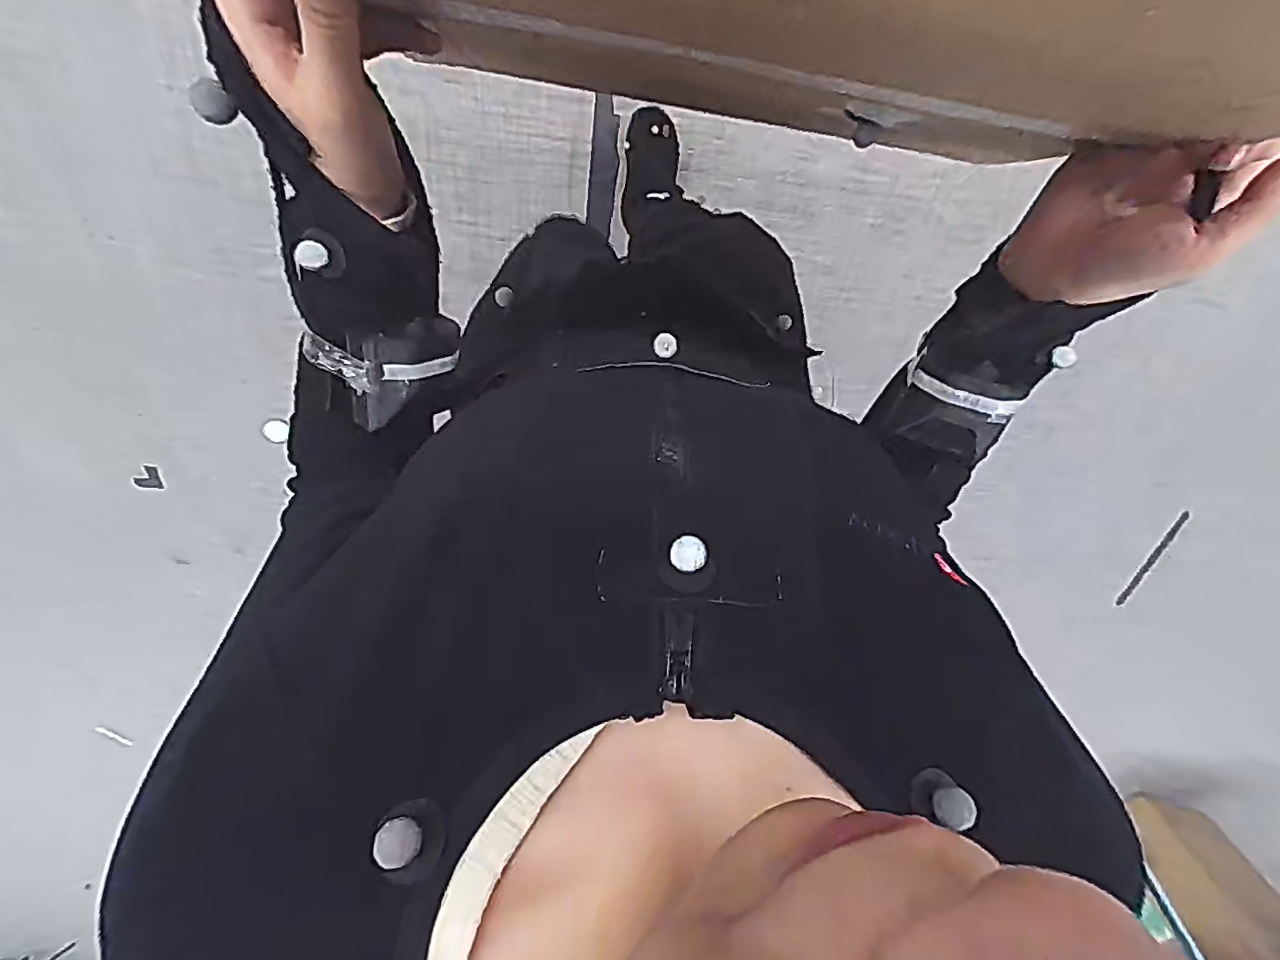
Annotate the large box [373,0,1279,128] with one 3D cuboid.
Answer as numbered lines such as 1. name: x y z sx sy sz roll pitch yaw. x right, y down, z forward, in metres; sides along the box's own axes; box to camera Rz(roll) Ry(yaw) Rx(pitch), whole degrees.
1. large box: 0.081 -0.328 0.155 0.408 0.320 0.320 4 118 -7
